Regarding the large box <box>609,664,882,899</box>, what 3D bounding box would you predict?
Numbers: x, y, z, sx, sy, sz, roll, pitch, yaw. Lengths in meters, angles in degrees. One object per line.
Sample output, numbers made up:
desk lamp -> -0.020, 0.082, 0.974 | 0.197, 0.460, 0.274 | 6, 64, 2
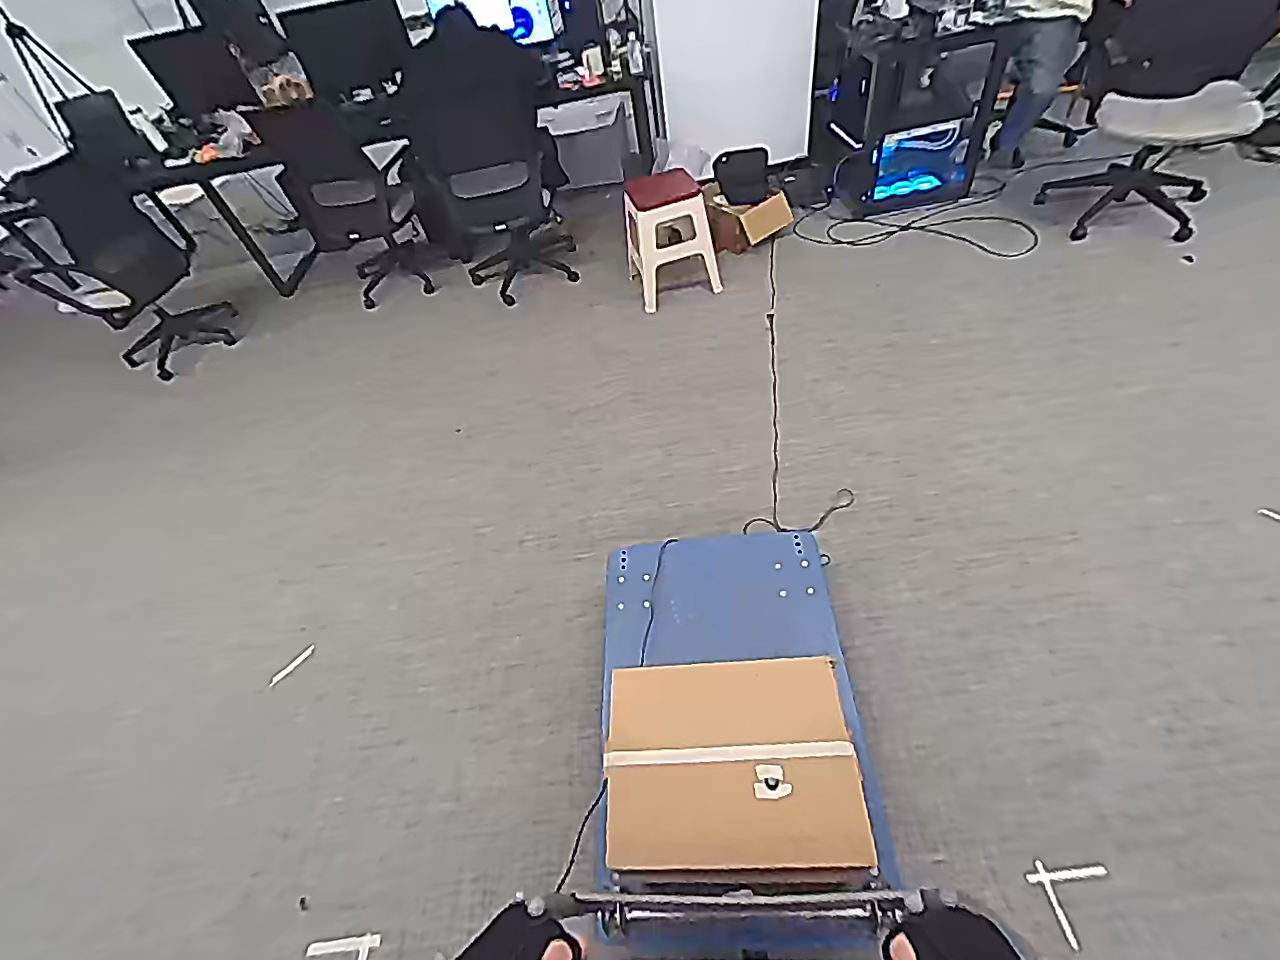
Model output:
large box -> 0.167, 0.558, 0.990 | 0.408, 0.320, 0.320 | -6, 50, 6
